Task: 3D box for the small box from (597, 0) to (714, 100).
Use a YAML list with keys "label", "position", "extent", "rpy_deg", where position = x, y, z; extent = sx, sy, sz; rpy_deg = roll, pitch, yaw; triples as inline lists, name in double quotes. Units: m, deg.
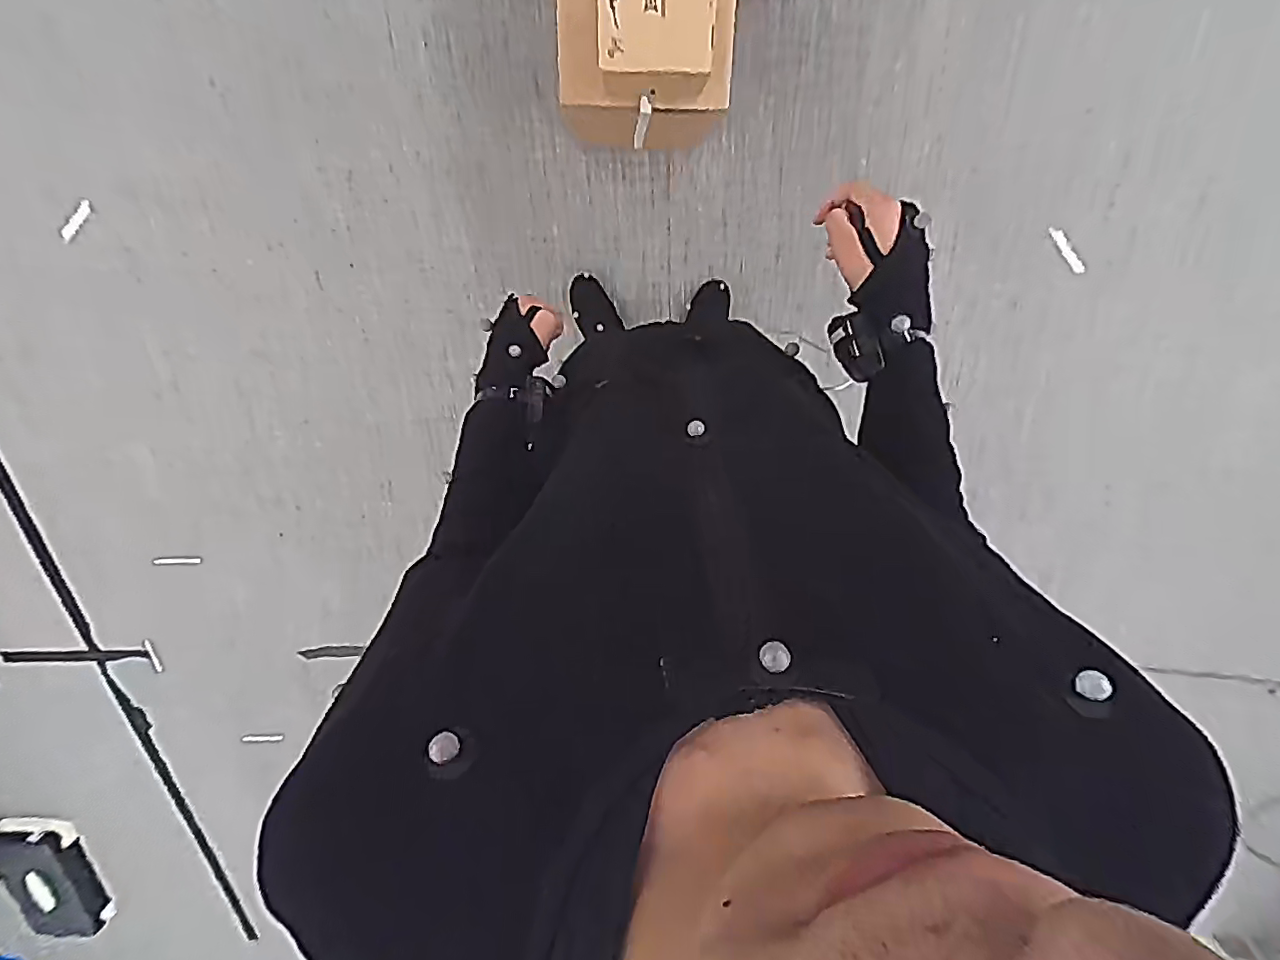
- label: "small box"
  position: [0.020, -0.732, 0.875]
  extent: [0.179, 0.176, 0.168]
  rpy_deg: [0, 115, -2]
